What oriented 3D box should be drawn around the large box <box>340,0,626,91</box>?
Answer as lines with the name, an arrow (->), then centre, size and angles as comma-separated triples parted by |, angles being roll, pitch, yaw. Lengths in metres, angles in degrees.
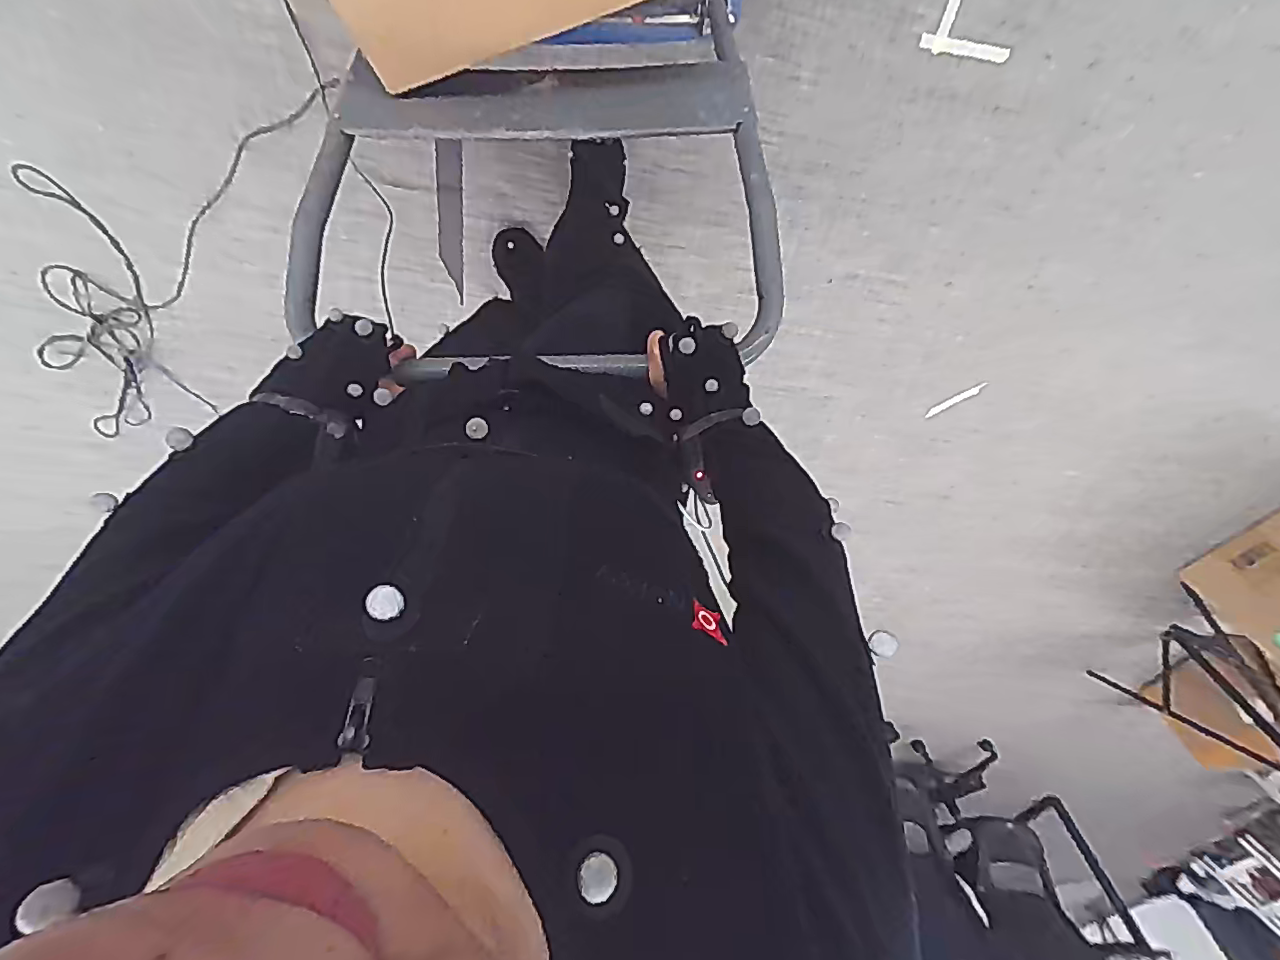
large box -> -0.160, -0.709, 0.566 | 0.408, 0.320, 0.320 | -11, 149, 12
